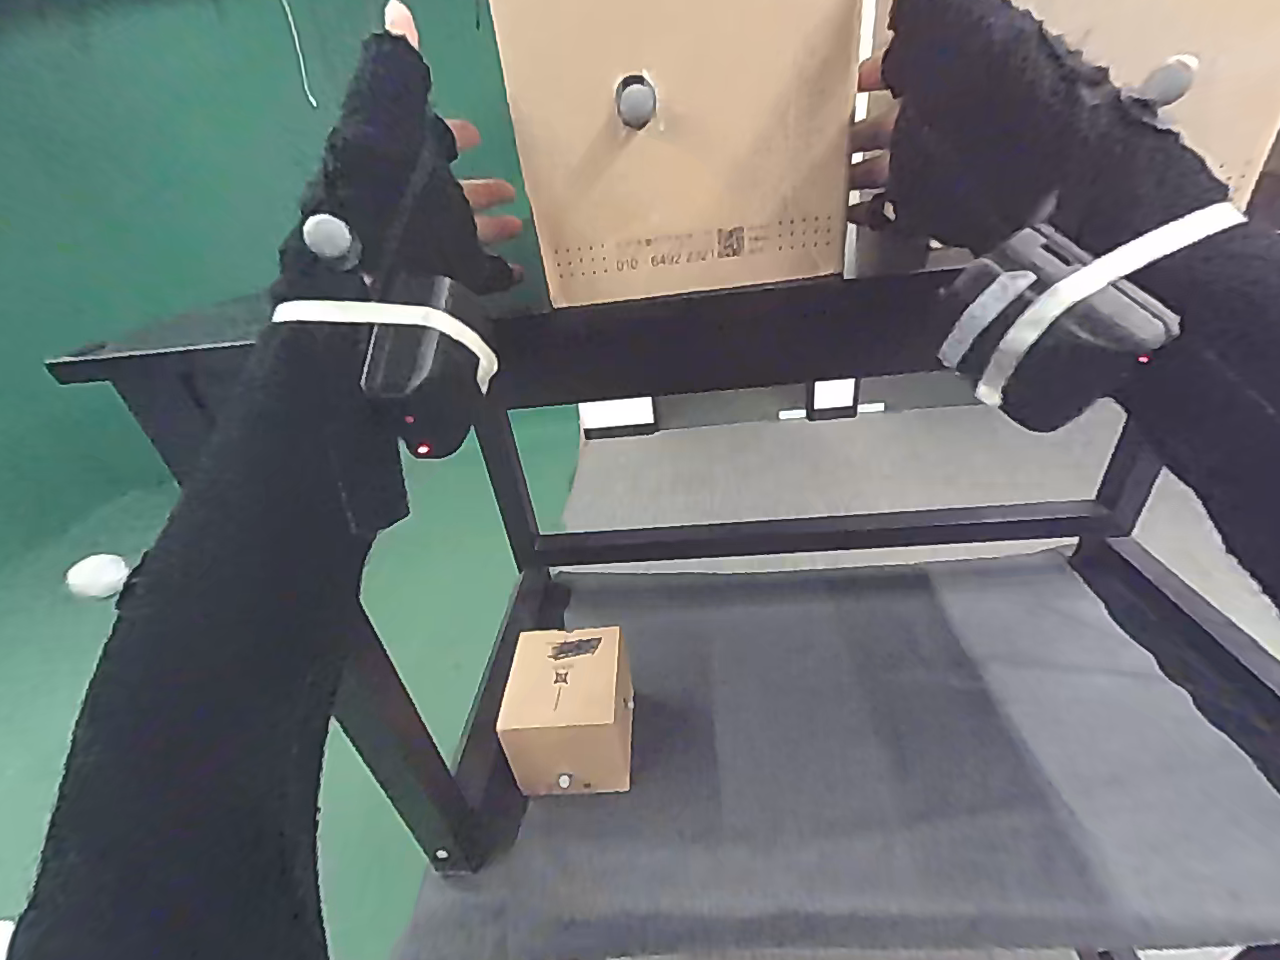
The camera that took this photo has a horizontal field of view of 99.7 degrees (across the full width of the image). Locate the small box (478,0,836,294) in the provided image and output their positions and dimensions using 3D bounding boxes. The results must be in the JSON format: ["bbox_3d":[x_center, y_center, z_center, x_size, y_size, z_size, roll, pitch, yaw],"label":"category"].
[{"bbox_3d":[0.017,-0.220,0.334,0.168,0.176,0.179,-6,30,4],"label":"small box"}]

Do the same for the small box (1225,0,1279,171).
[{"bbox_3d":[0.516,-0.280,0.308,0.168,0.176,0.179,1,31,14],"label":"small box"}]

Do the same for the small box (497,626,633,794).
[{"bbox_3d":[-0.103,0.352,0.837,0.168,0.176,0.179,-5,31,5],"label":"small box"}]
